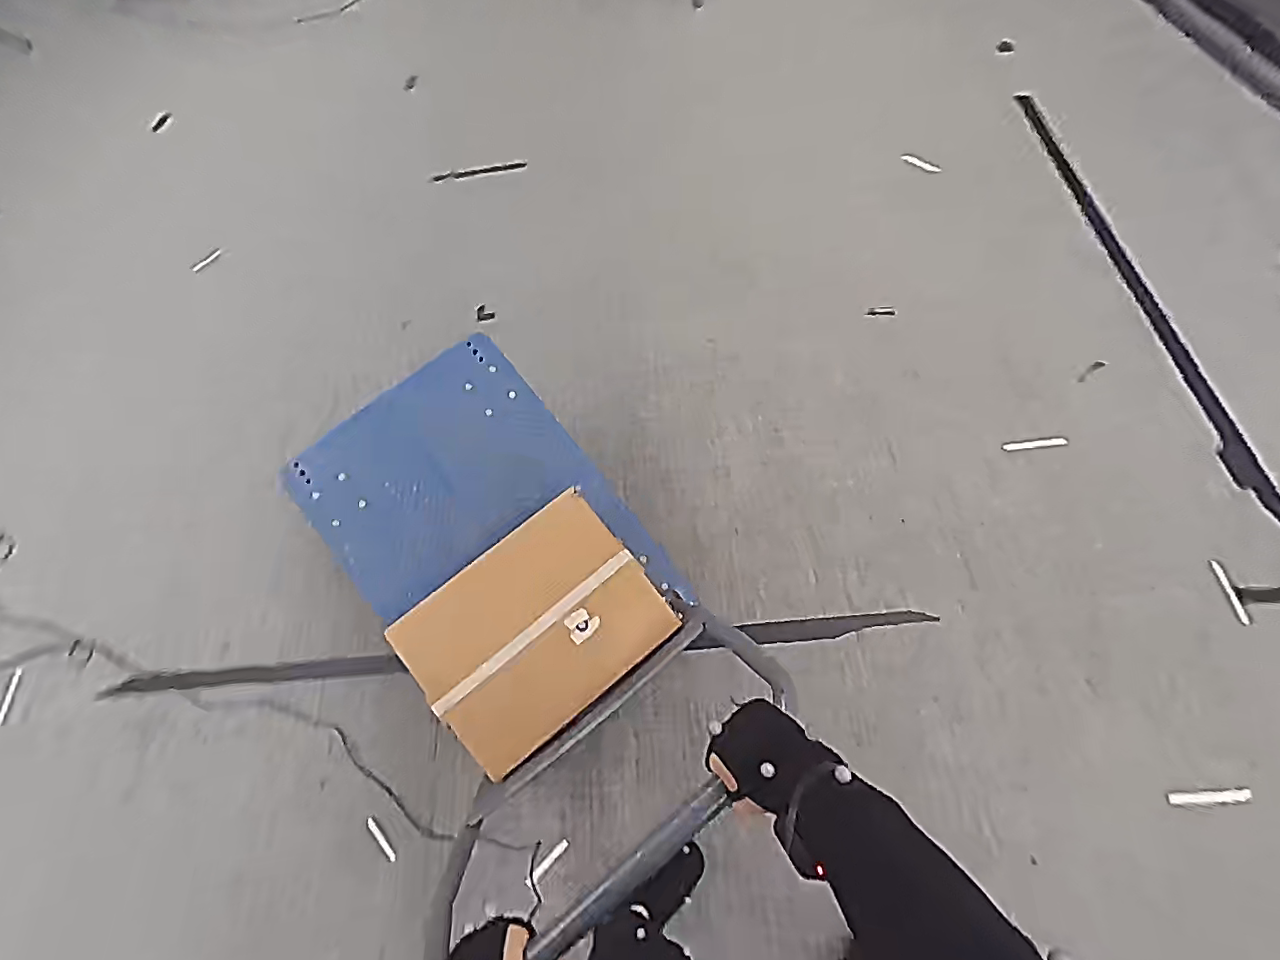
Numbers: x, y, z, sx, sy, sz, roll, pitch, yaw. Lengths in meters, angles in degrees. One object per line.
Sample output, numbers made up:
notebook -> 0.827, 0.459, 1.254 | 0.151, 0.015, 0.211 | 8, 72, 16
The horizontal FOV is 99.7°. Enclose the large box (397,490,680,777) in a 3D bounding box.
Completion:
large box -> -0.184, 0.283, 1.086 | 0.408, 0.320, 0.320 | -39, 86, -10
